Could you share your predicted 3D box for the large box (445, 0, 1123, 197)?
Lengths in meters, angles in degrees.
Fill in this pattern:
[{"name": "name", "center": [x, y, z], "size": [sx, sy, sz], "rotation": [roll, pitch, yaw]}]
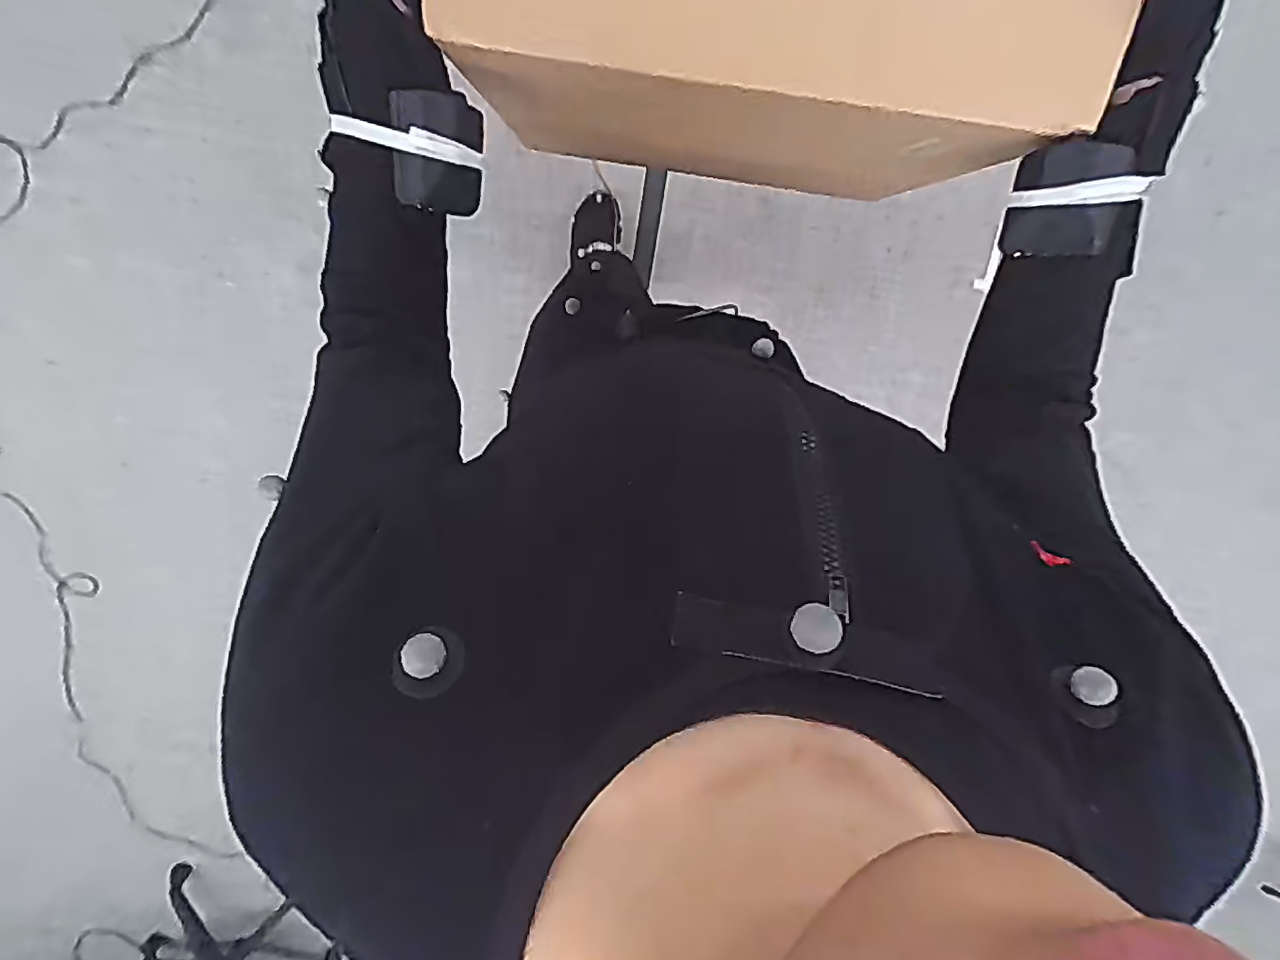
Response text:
[{"name": "large box", "center": [0.092, -0.430, 0.418], "size": [0.408, 0.320, 0.320], "rotation": [6, 112, -4]}]
